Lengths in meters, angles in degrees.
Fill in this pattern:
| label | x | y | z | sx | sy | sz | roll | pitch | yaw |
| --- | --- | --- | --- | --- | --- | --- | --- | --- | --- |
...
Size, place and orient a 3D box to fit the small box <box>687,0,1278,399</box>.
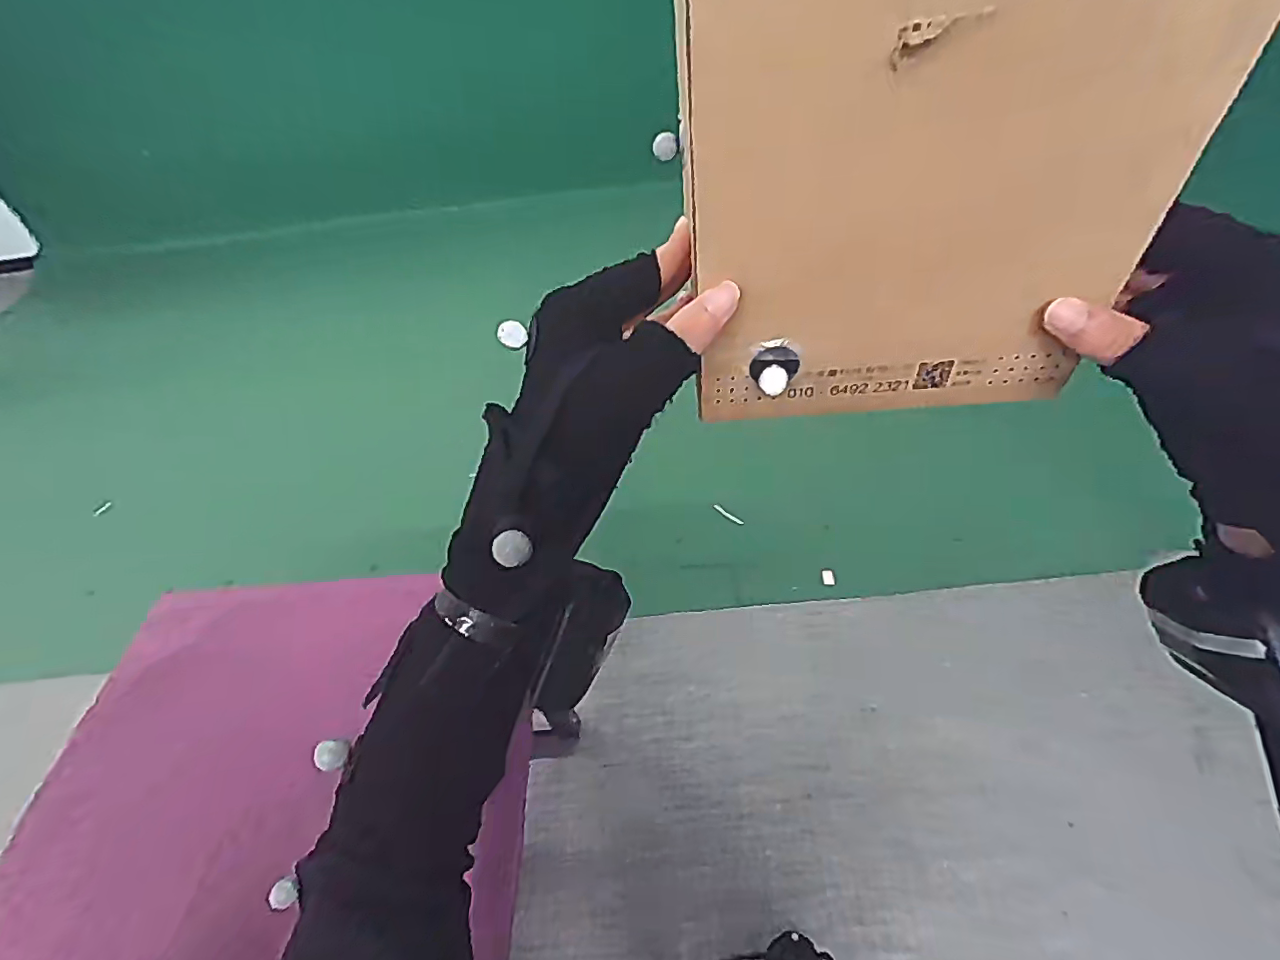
| label | x | y | z | sx | sy | sz | roll | pitch | yaw |
| --- | --- | --- | --- | --- | --- | --- | --- | --- | --- |
| small box | 0.109 | -0.149 | 0.249 | 0.168 | 0.176 | 0.179 | -3 | 47 | 5 |
